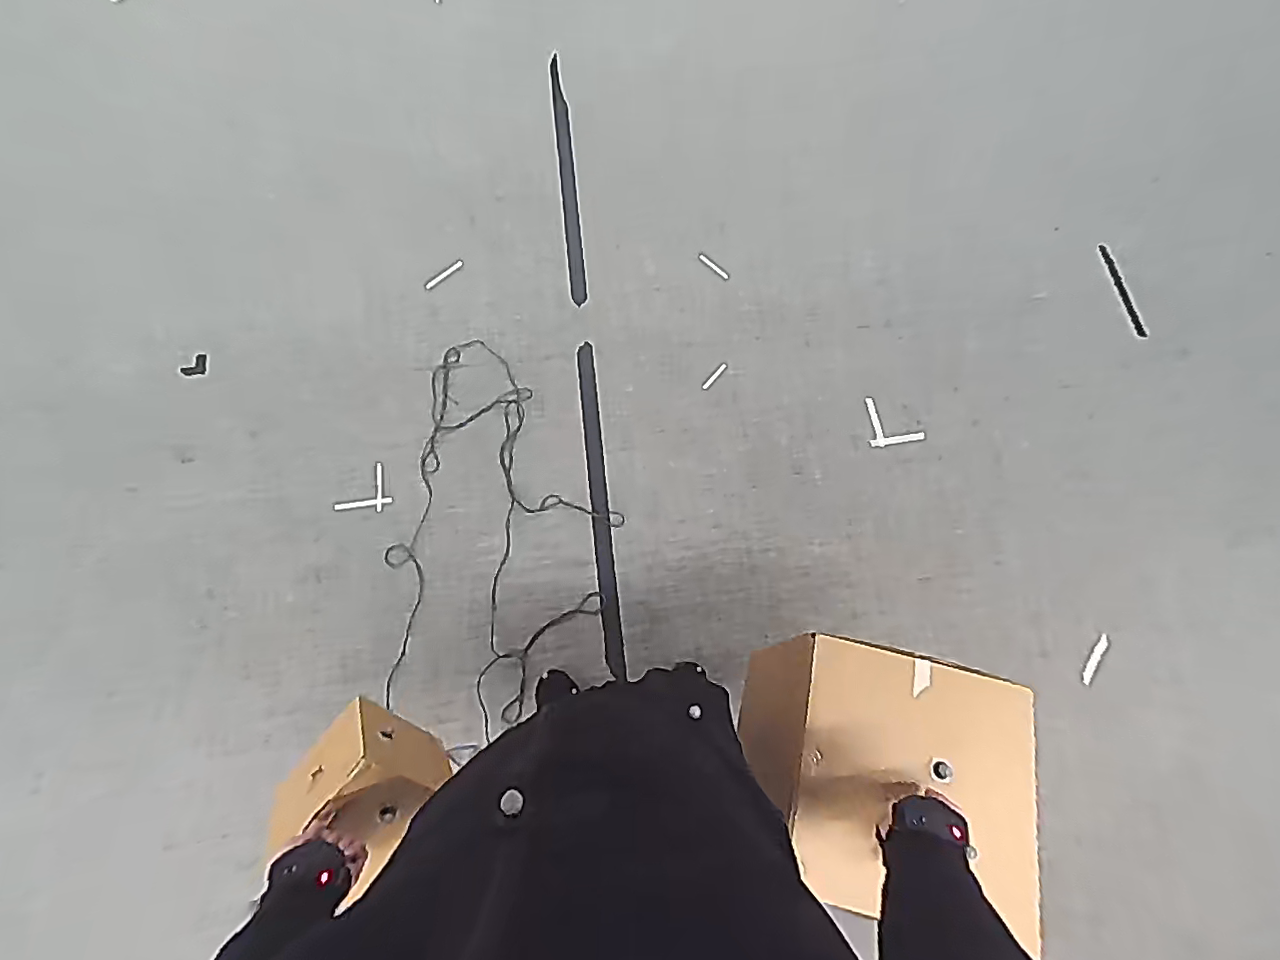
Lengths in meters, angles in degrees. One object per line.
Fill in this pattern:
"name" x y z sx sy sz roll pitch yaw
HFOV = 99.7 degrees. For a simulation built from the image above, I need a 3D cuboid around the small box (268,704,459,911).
"small box" -0.382 0.462 0.767 0.168 0.179 0.176 -50 116 -14
